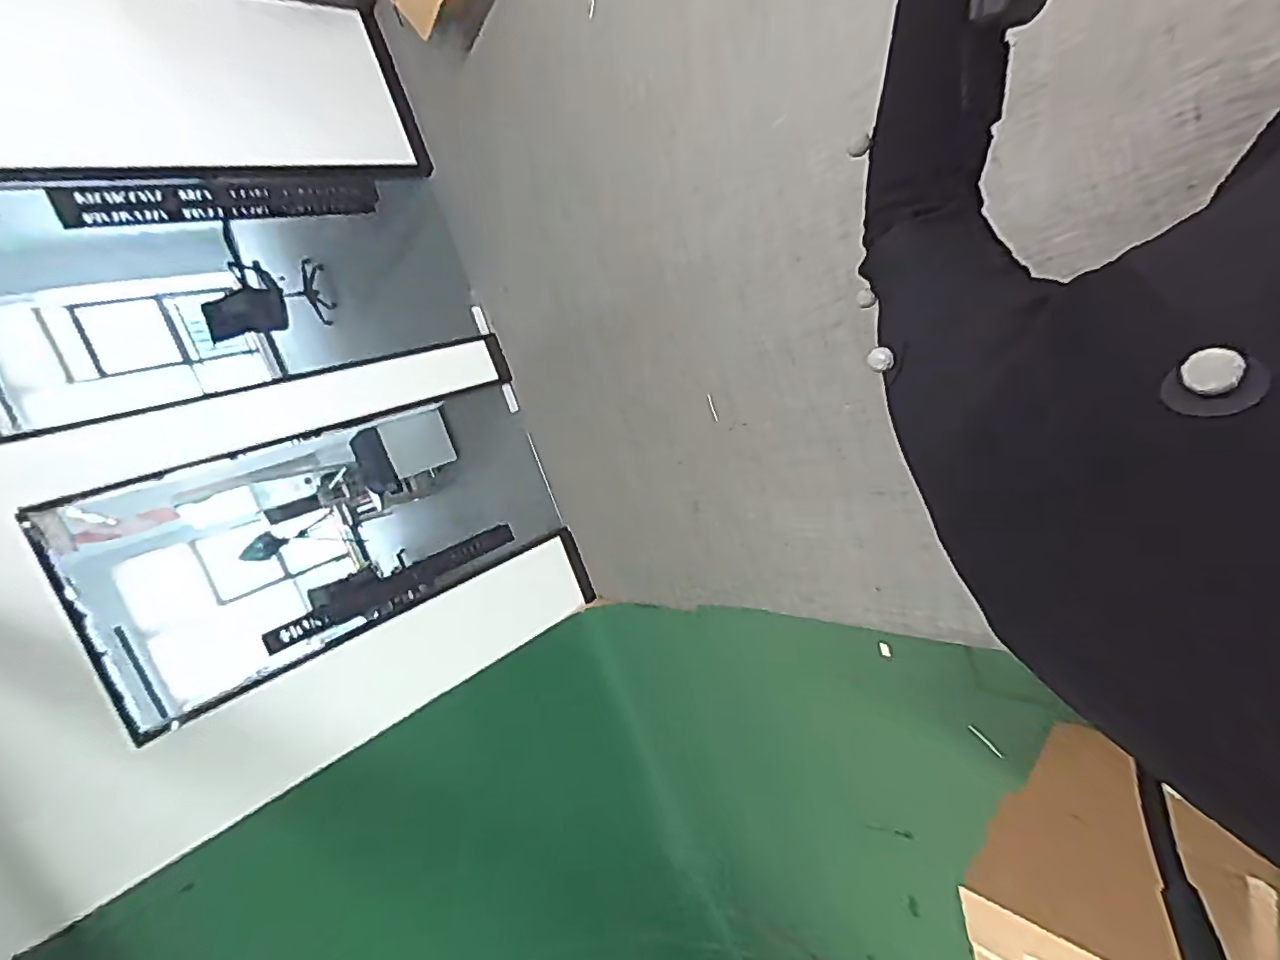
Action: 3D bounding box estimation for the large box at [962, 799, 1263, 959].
[{"bbox_3d":[0.961,0.956,1.106,0.408,0.320,0.320,-3,106,54],"label":"large box"}]
